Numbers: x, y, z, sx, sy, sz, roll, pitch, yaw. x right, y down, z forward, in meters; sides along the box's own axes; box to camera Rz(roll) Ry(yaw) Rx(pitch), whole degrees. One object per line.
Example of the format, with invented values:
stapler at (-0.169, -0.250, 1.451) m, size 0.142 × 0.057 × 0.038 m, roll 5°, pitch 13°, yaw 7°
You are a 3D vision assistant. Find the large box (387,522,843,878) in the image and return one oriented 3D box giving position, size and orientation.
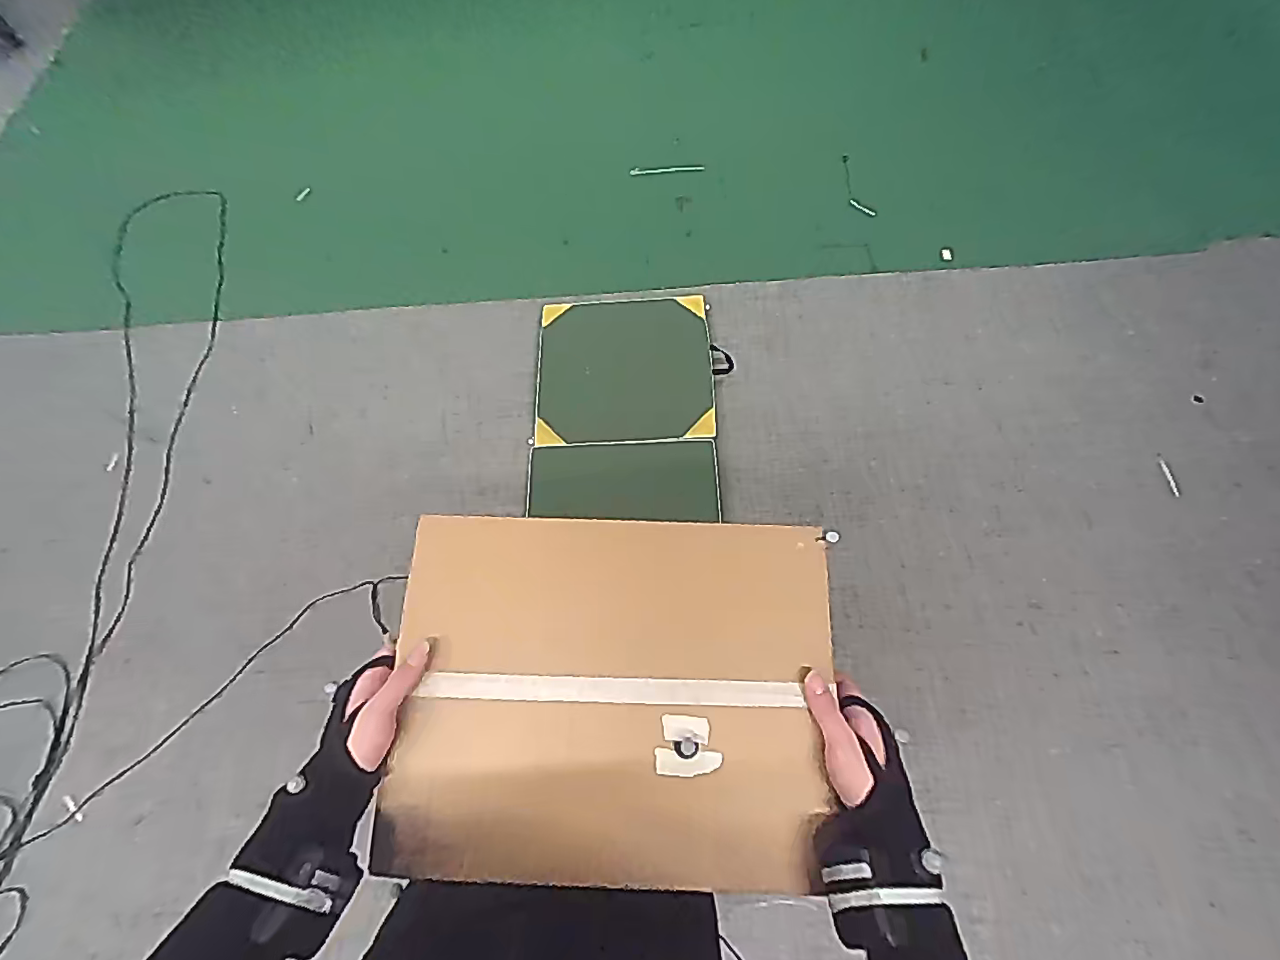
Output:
large box at (-0.022, 0.239, 0.651) m, size 0.408 × 0.320 × 0.320 m, roll 2°, pitch 73°, yaw 0°
